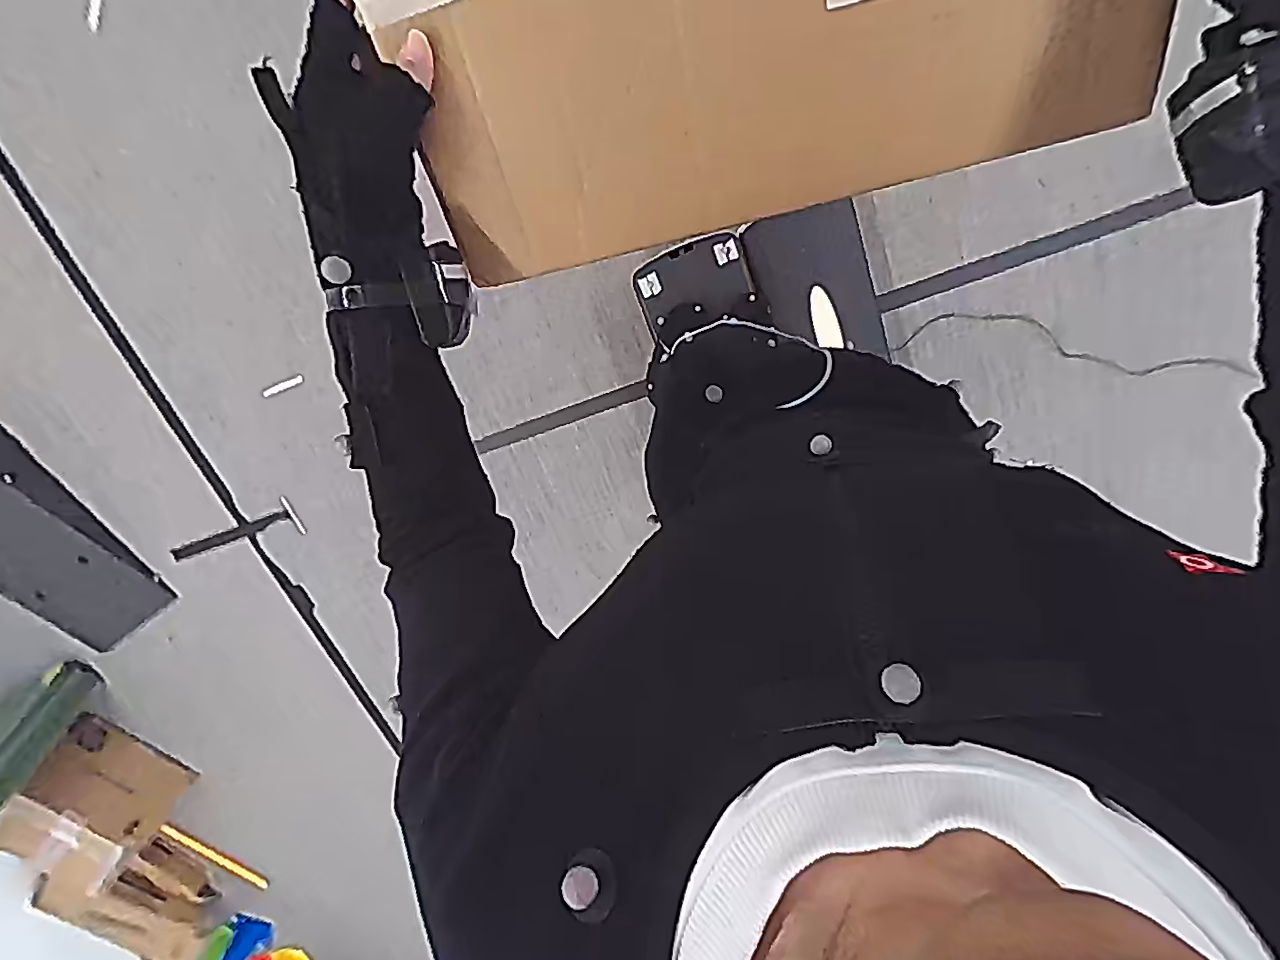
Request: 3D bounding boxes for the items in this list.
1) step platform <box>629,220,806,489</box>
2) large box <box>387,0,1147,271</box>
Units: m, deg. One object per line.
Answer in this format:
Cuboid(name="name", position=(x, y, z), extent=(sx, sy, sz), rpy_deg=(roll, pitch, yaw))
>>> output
Cuboid(name="step platform", position=(0.216, -0.318, 1.458), extent=(0.286, 0.204, 0.684), rpy_deg=(-20, 105, 12))
Cuboid(name="large box", position=(0.057, -0.386, 0.391), extent=(0.408, 0.320, 0.320), rpy_deg=(-9, 123, 12))
